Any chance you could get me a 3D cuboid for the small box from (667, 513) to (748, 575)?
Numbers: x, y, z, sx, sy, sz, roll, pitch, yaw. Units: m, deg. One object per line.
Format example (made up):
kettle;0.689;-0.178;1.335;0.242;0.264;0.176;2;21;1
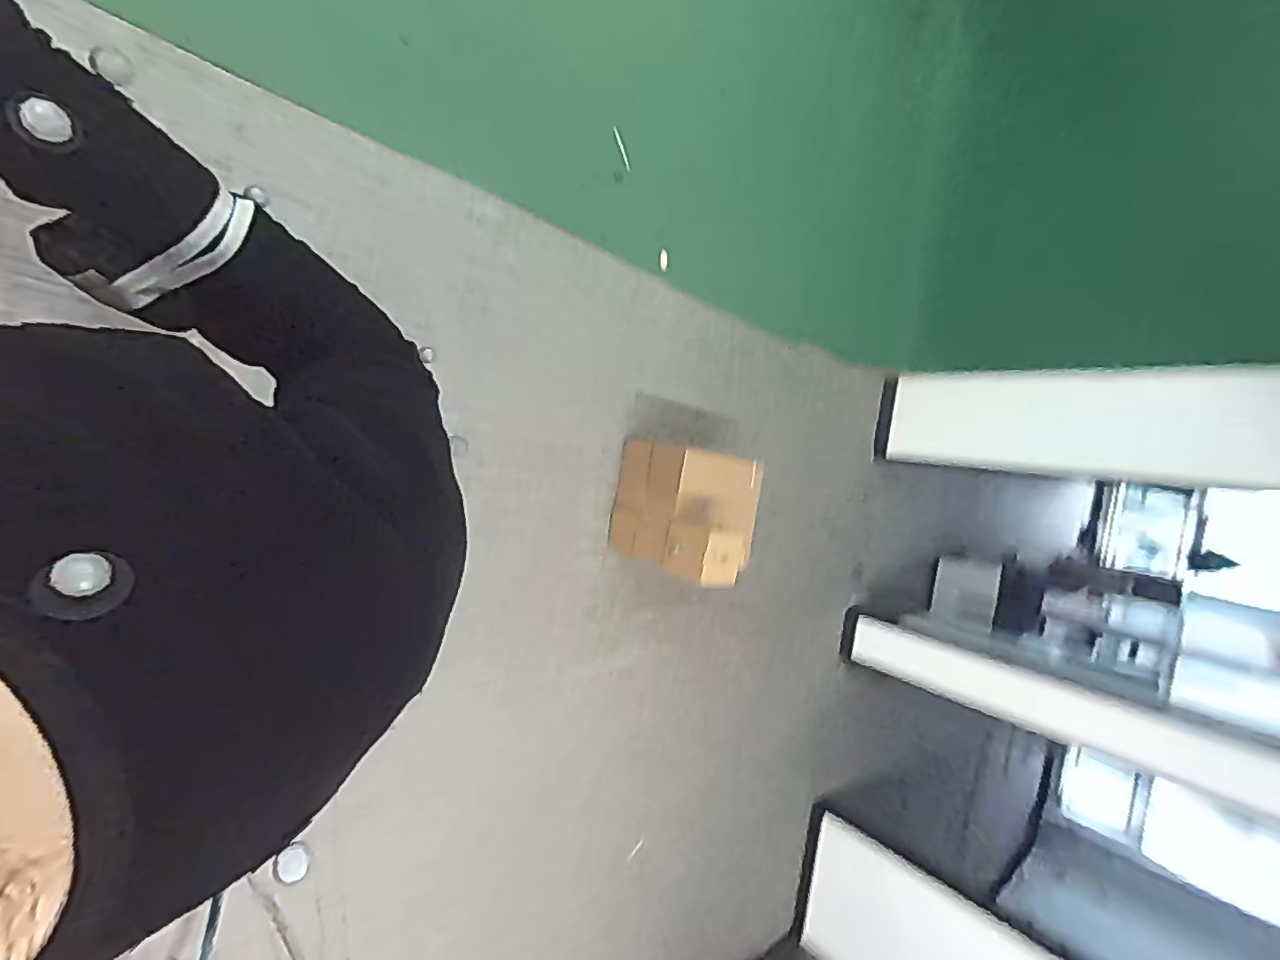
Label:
small box;0.216;0.202;1.736;0.179;0.176;0.168;9;92;-42
